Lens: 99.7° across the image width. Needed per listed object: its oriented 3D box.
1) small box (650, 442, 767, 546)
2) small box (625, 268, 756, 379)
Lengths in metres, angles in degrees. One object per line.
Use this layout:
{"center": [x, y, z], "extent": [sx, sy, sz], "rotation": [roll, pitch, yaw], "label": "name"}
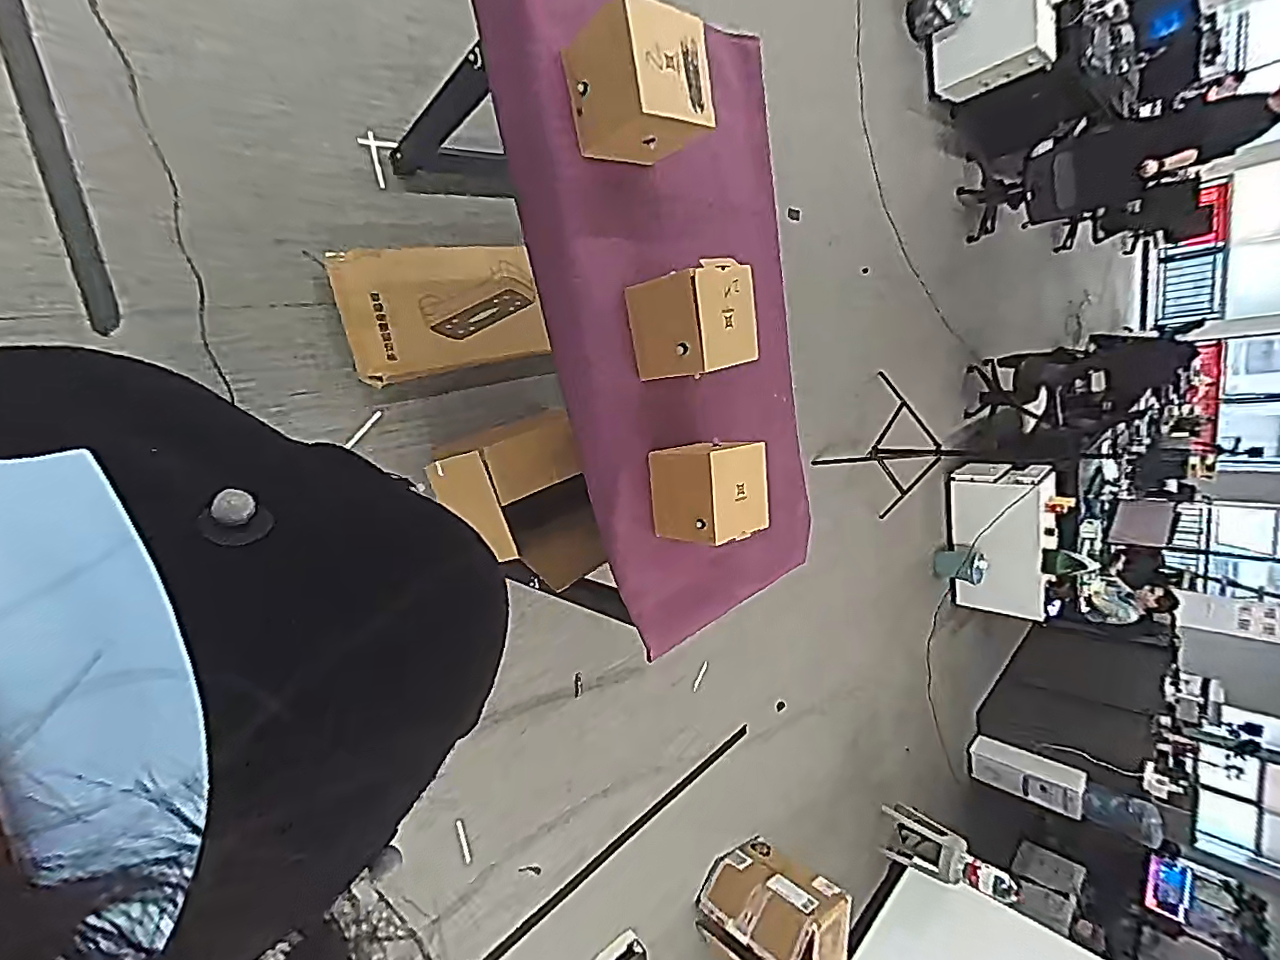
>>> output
{"center": [0.133, 0.020, 1.079], "extent": [0.168, 0.176, 0.179], "rotation": [-12, 101, -41], "label": "small box"}
{"center": [0.095, -0.291, 1.021], "extent": [0.168, 0.176, 0.179], "rotation": [-22, 108, -41], "label": "small box"}
